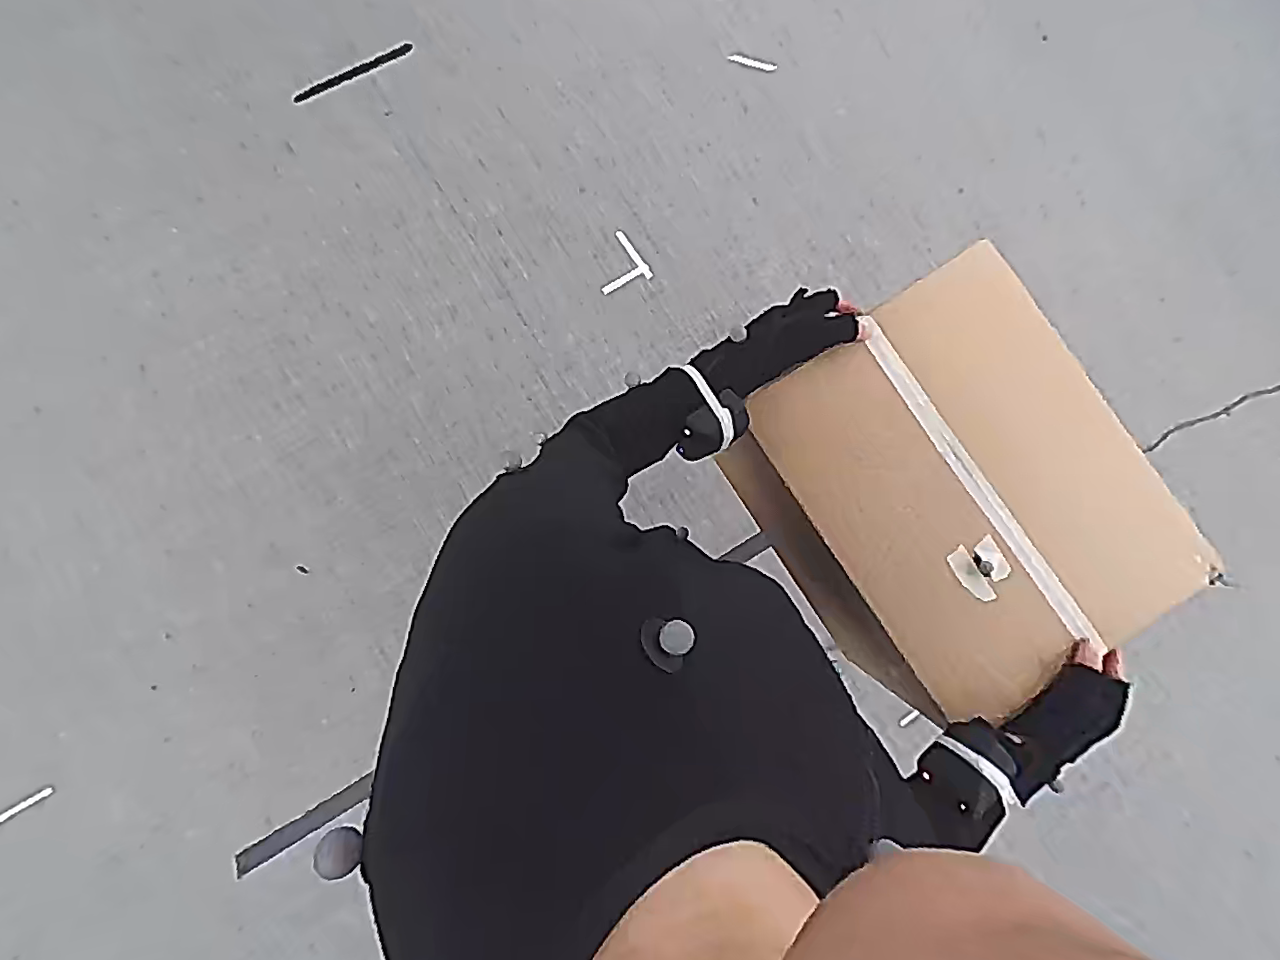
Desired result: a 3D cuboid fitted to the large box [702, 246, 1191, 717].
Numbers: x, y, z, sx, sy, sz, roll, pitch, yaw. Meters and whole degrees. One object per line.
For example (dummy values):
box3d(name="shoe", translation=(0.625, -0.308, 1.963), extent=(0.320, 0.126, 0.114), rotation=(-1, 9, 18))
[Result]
box3d(name="large box", translation=(0.330, 0.002, 0.705), extent=(0.320, 0.320, 0.408), rotation=(-33, 88, -1))
